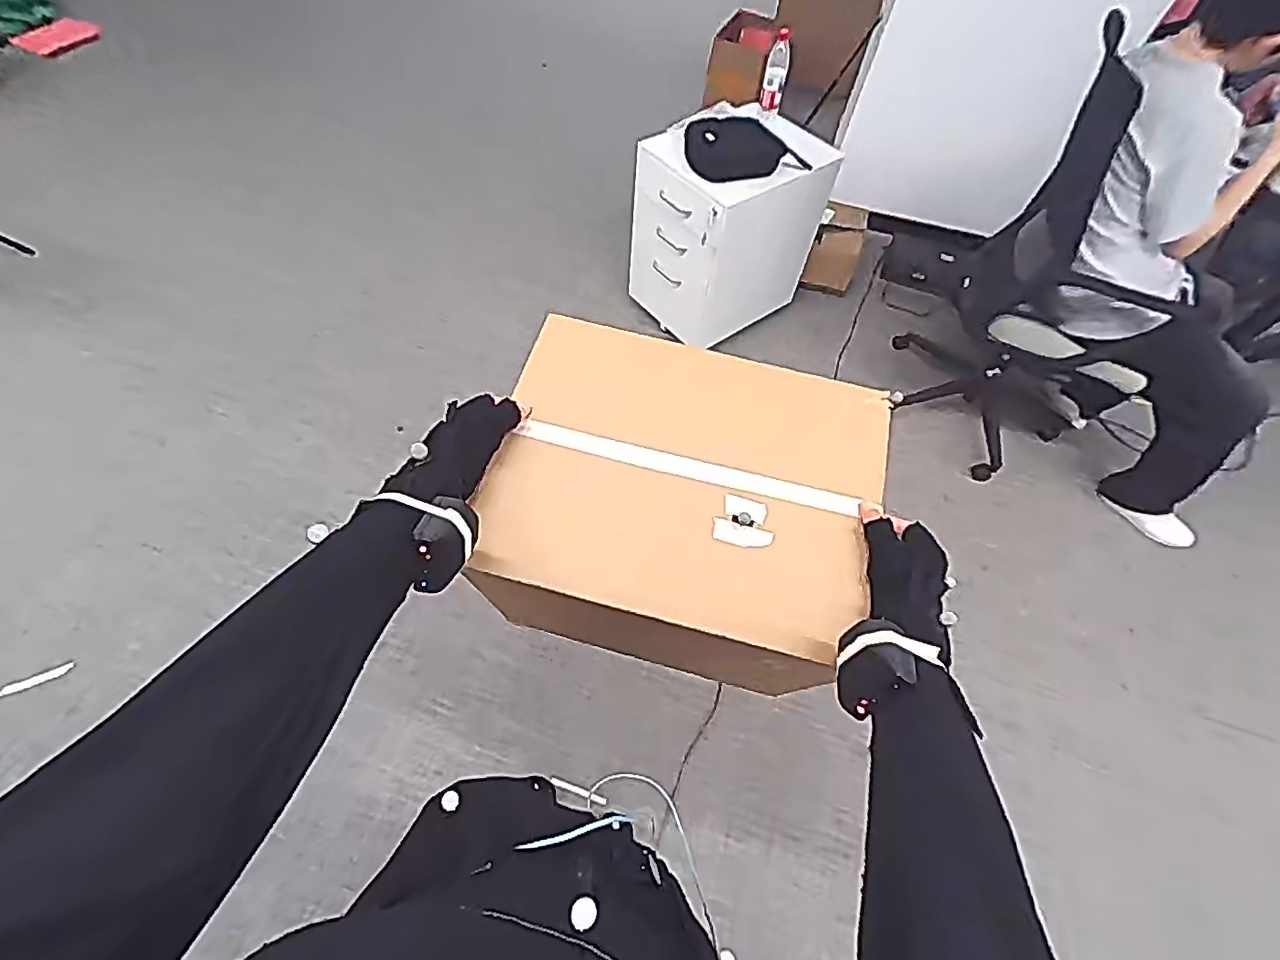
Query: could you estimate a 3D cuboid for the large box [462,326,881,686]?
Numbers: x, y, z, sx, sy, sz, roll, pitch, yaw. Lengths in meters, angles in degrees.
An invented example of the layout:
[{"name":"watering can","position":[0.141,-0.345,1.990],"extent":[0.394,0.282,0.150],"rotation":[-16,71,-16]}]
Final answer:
[{"name":"large box","position":[0.043,0.054,0.711],"extent":[0.408,0.320,0.320],"rotation":[15,66,4]}]
